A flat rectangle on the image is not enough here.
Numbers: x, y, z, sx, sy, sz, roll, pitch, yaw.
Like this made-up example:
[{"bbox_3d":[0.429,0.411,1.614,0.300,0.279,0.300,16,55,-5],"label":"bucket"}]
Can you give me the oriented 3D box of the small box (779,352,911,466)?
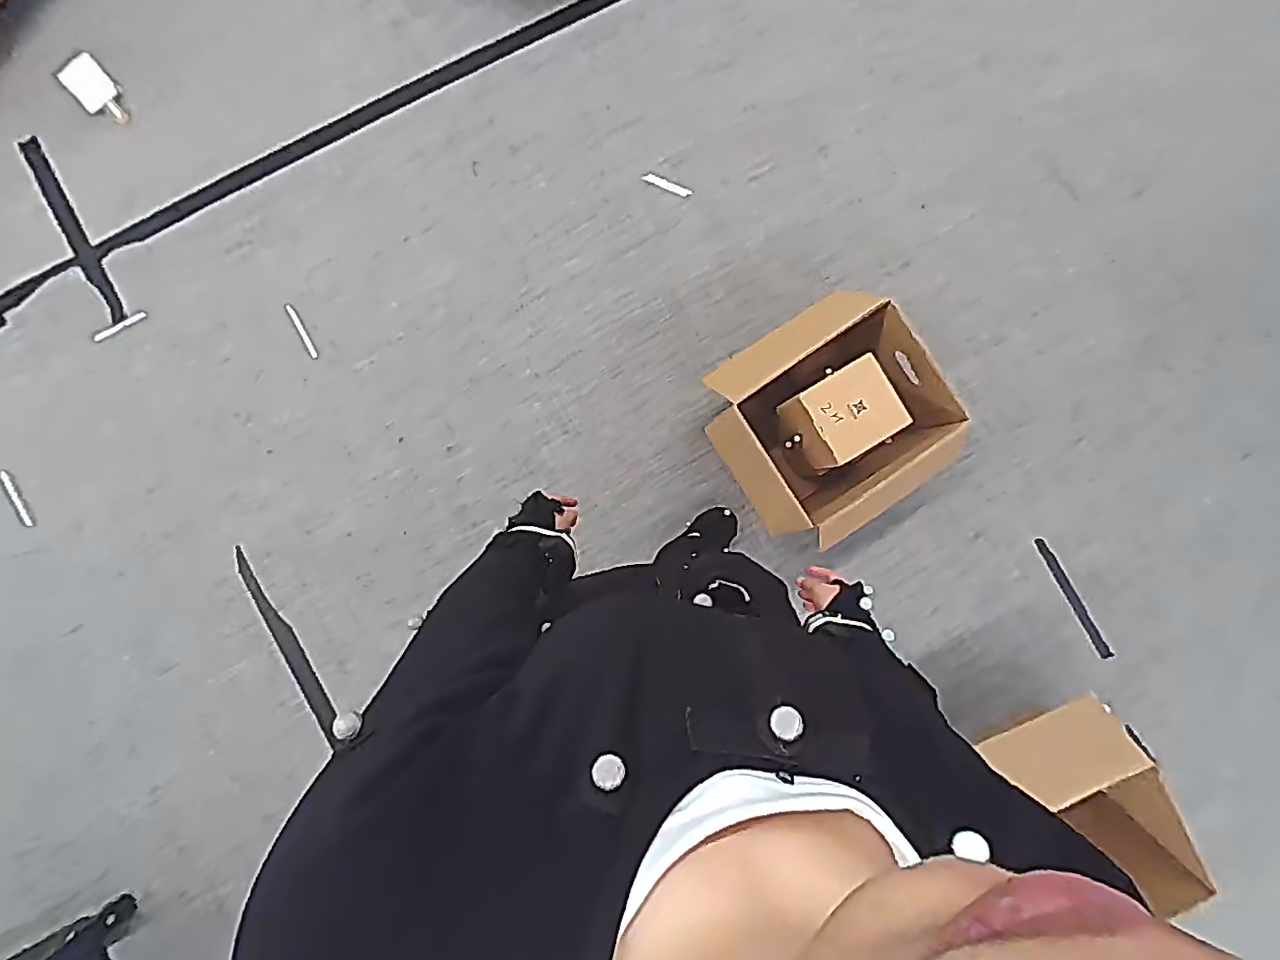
[{"bbox_3d":[0.427,-0.144,1.155,0.179,0.176,0.168,-31,89,-2],"label":"small box"}]
